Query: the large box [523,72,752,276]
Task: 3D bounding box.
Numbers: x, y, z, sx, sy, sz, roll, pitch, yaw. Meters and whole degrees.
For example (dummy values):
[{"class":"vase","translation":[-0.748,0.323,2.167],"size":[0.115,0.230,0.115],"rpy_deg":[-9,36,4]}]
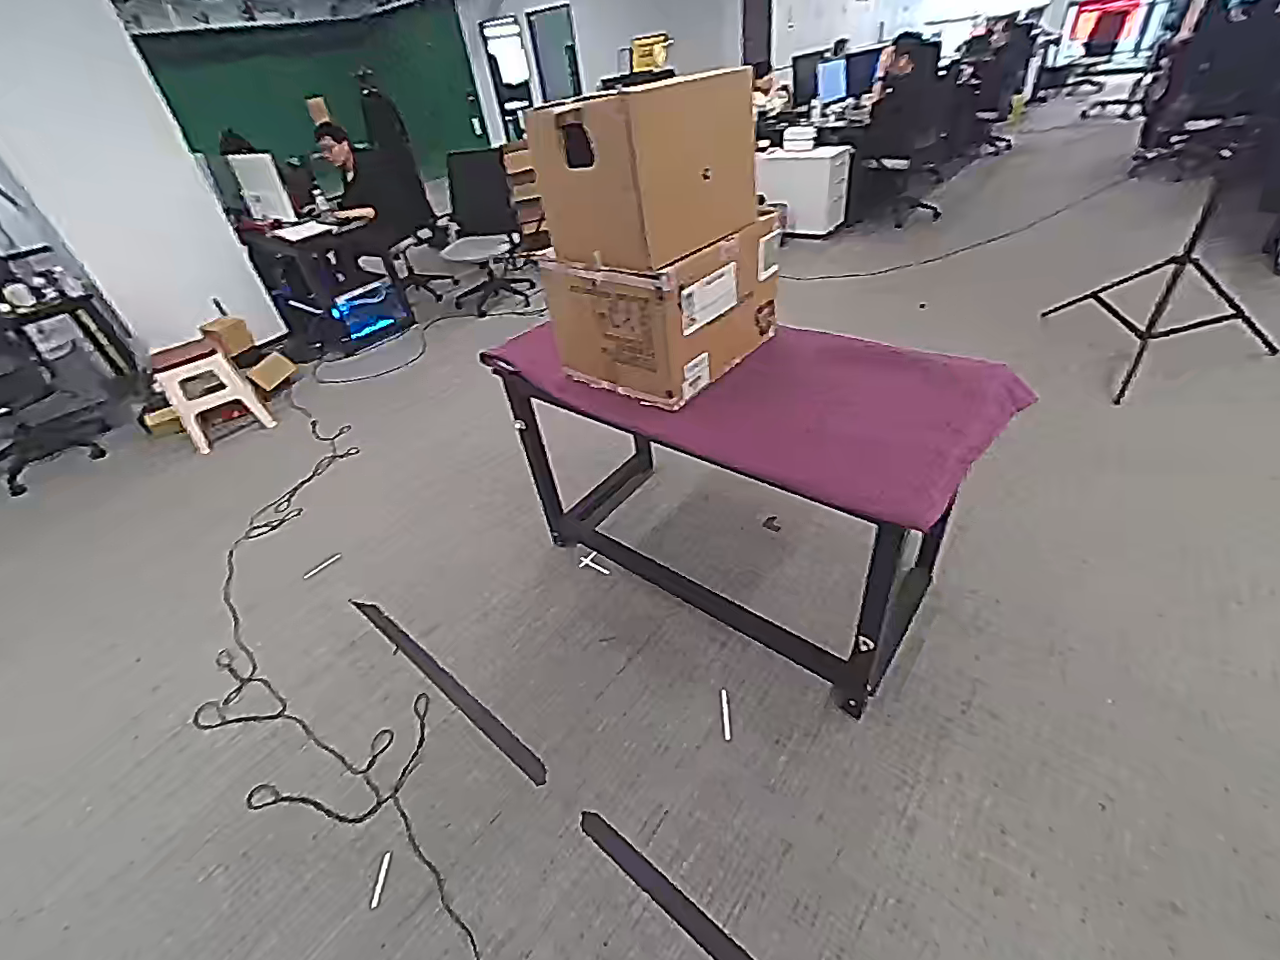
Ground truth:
[{"class":"large box","translation":[0.018,-0.690,1.228],"size":[0.320,0.320,0.408],"rpy_deg":[21,47,38]}]
